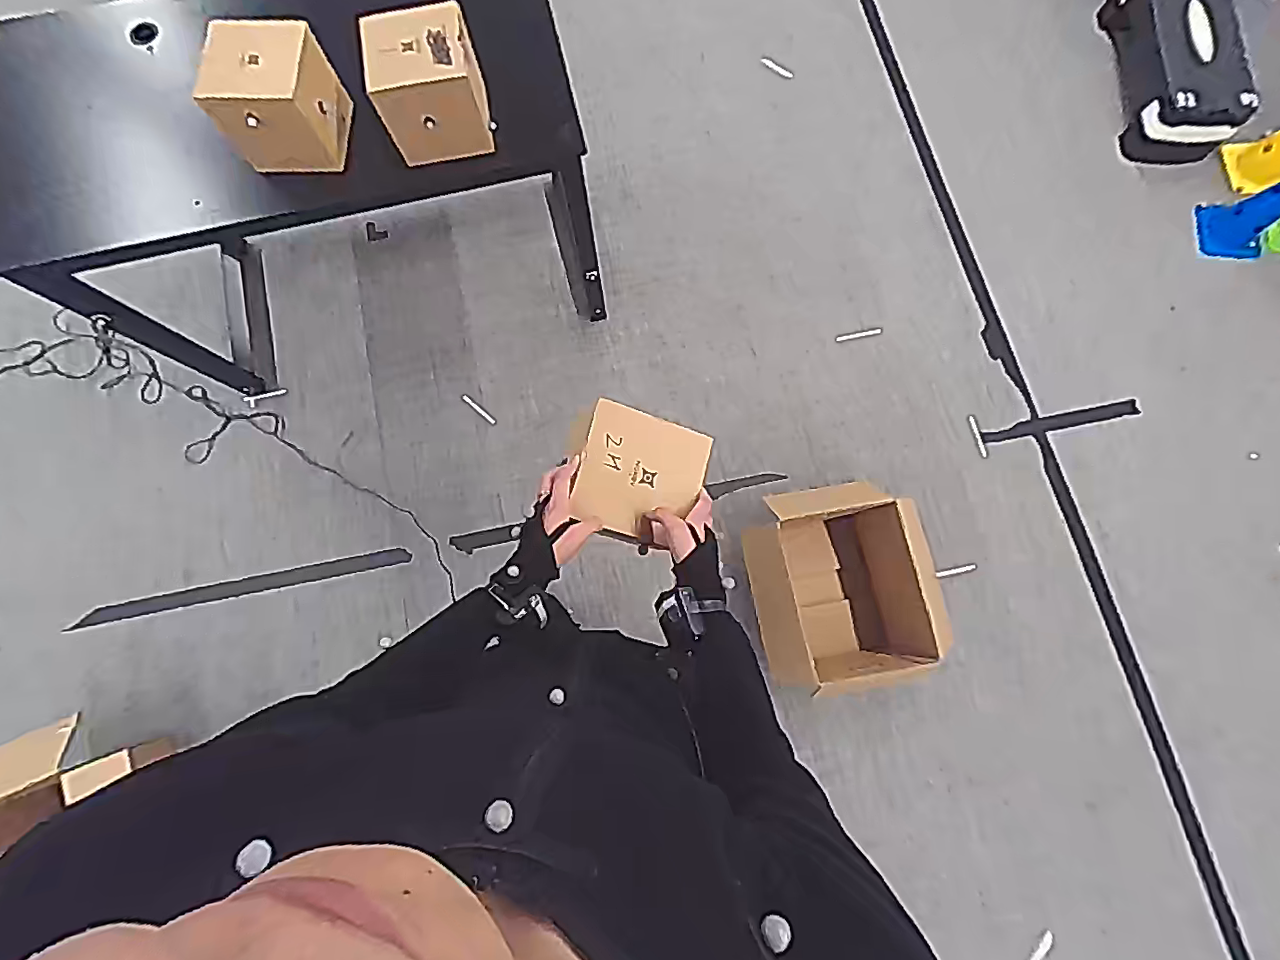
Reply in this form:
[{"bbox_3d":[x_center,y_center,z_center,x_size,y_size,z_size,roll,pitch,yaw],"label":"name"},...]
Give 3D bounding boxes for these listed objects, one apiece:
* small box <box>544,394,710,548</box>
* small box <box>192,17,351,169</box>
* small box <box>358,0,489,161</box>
[{"bbox_3d":[-0.027,-0.006,0.787,0.179,0.176,0.168,18,80,-15],"label":"small box"},{"bbox_3d":[-0.670,-0.709,1.006,0.179,0.176,0.168,0,78,1],"label":"small box"},{"bbox_3d":[-0.390,-0.734,1.005,0.179,0.176,0.168,-11,78,0],"label":"small box"}]
